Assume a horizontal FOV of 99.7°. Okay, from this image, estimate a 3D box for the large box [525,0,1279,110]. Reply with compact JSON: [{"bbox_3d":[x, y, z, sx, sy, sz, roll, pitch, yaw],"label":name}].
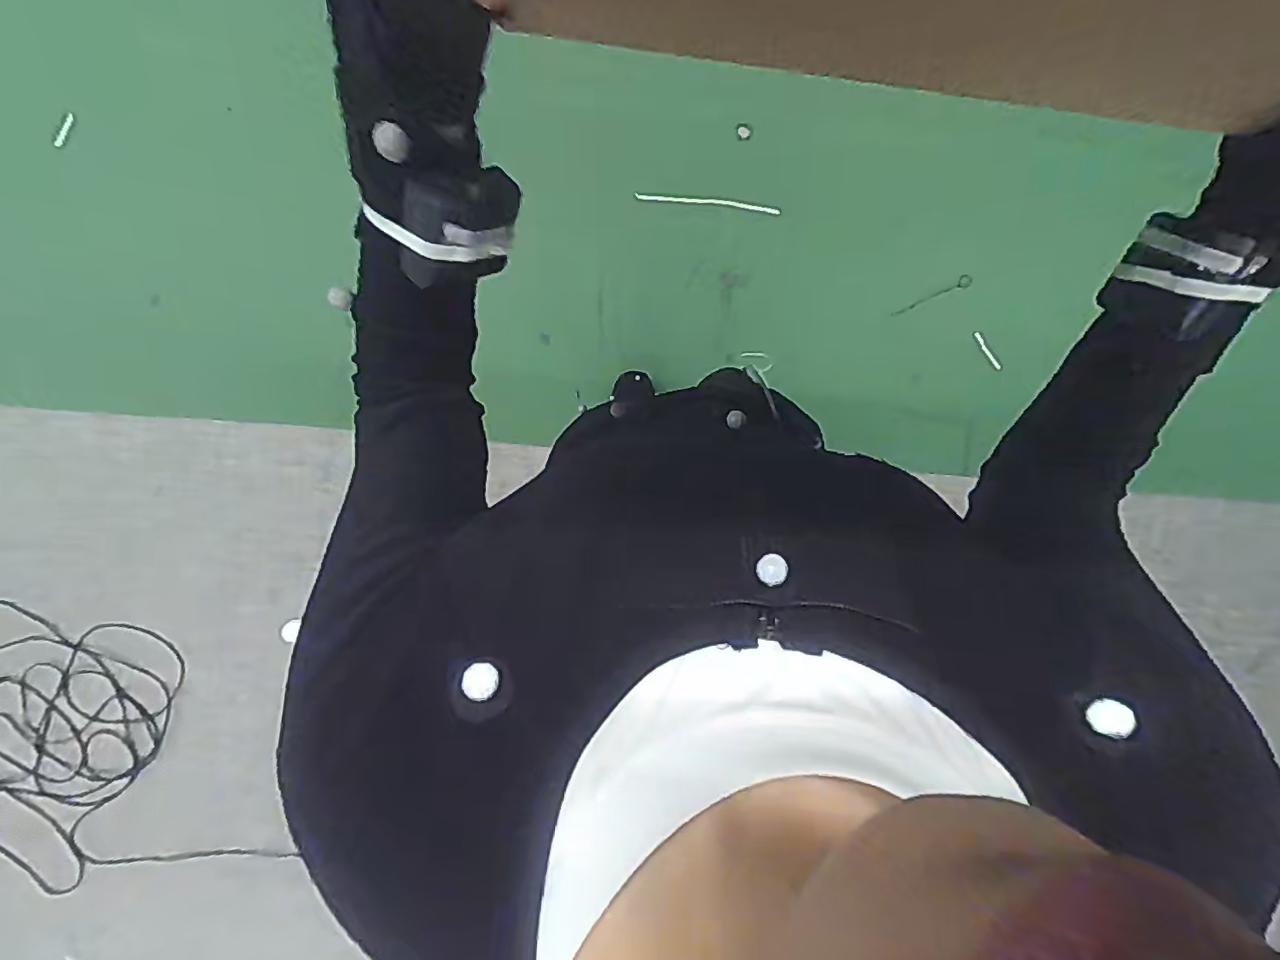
[{"bbox_3d":[0.169,-0.297,0.087,0.408,0.320,0.320,1,111,-8],"label":"large box"}]
